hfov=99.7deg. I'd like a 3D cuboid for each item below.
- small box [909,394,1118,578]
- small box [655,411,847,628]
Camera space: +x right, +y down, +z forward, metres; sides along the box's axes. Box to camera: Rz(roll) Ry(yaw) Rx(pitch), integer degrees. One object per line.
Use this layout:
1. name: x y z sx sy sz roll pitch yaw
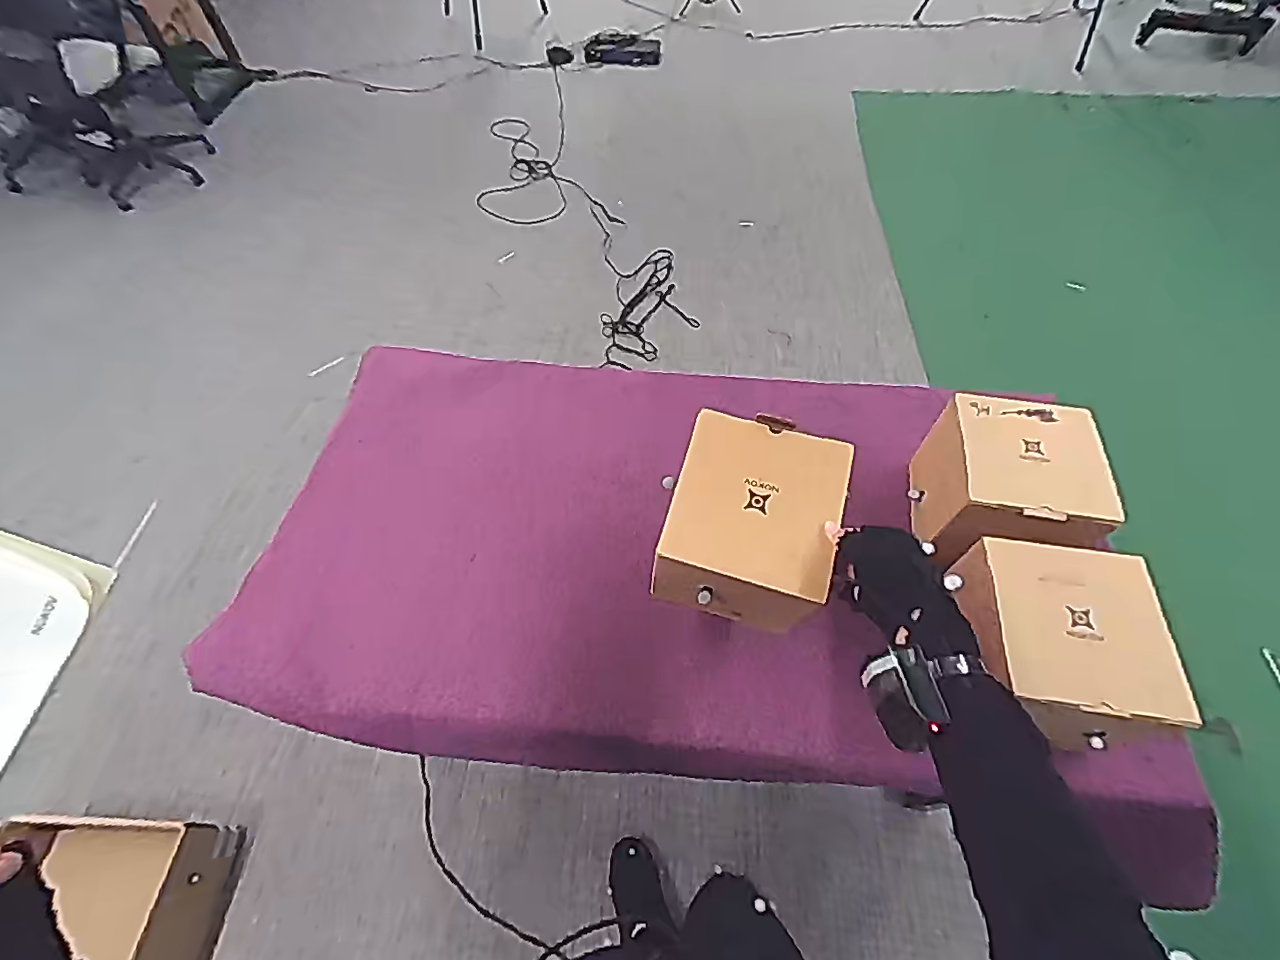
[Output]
1. small box: 0.479 0.014 0.727 0.168 0.176 0.179 10 58 8
2. small box: 0.118 0.053 0.618 0.168 0.176 0.179 15 64 7
